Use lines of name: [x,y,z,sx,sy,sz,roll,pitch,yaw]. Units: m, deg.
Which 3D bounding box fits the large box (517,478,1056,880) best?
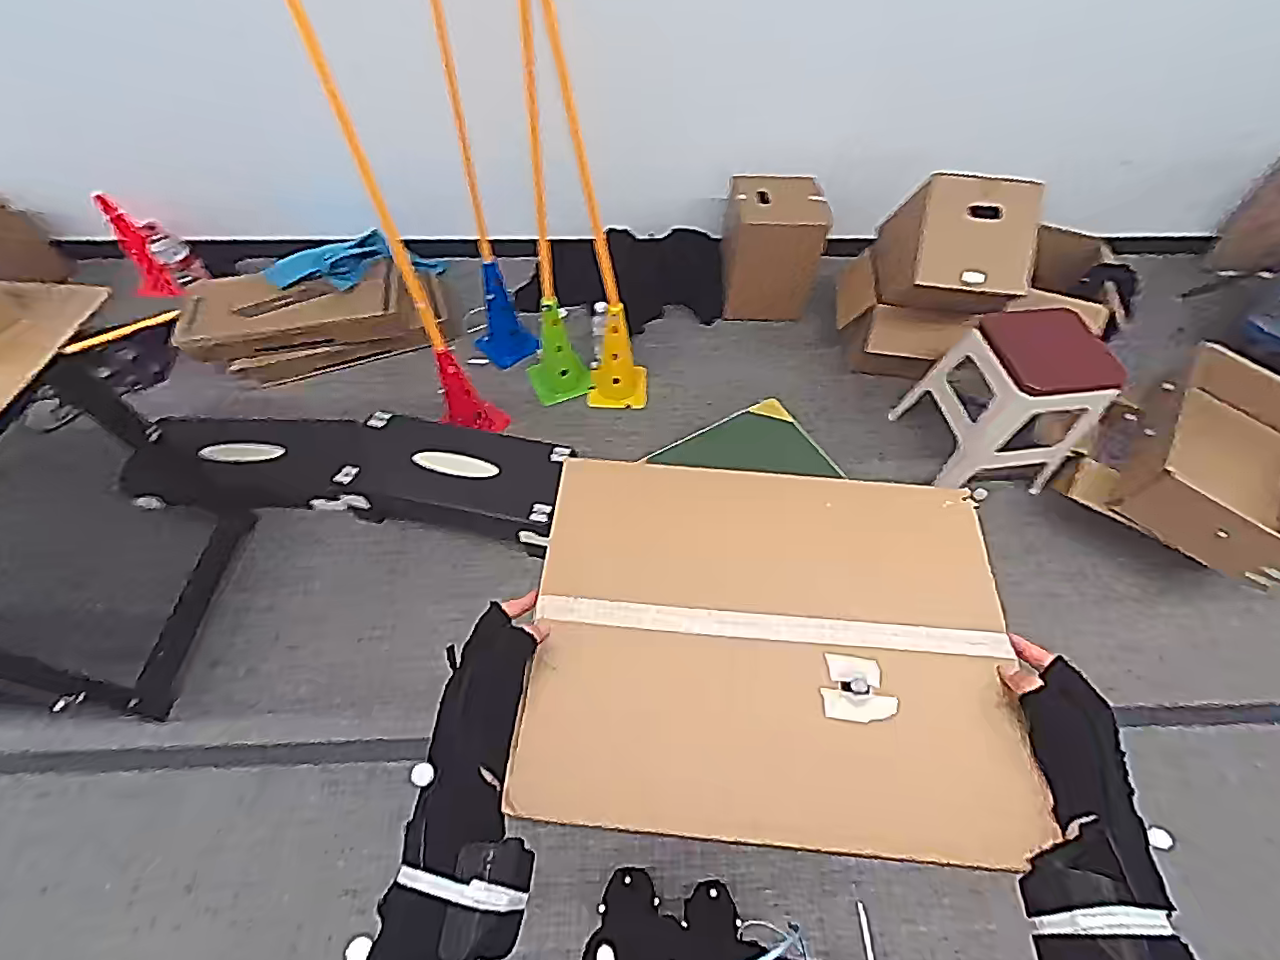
large box: [0.113,0.219,0.598,0.408,0.320,0.320,5,60,2]
